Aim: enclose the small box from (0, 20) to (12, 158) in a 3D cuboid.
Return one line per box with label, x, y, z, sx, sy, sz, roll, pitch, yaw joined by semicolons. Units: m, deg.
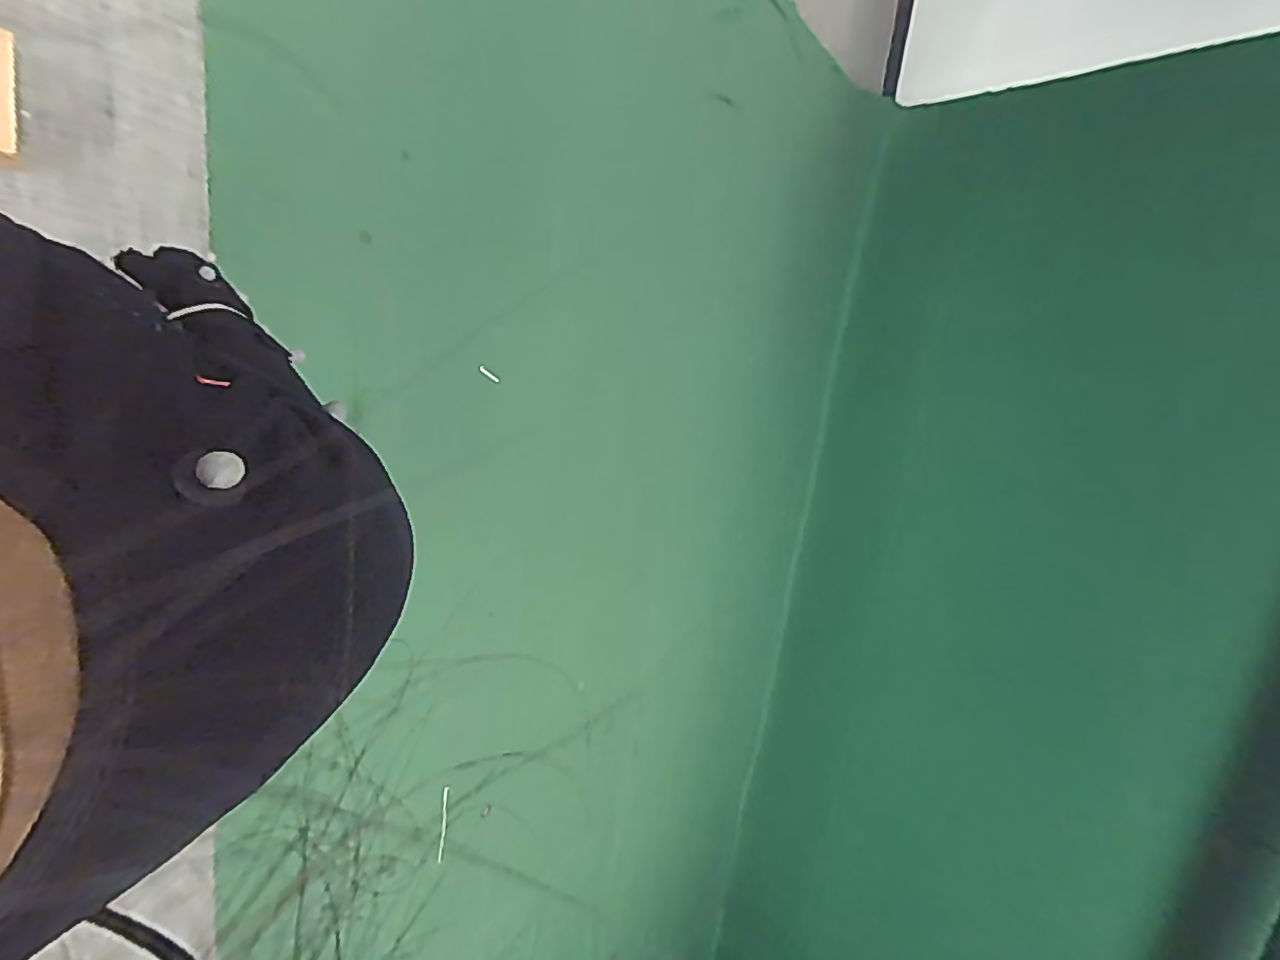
small box;-1.055;-0.606;0.797;0.168;0.176;0.179;-1;104;-49
